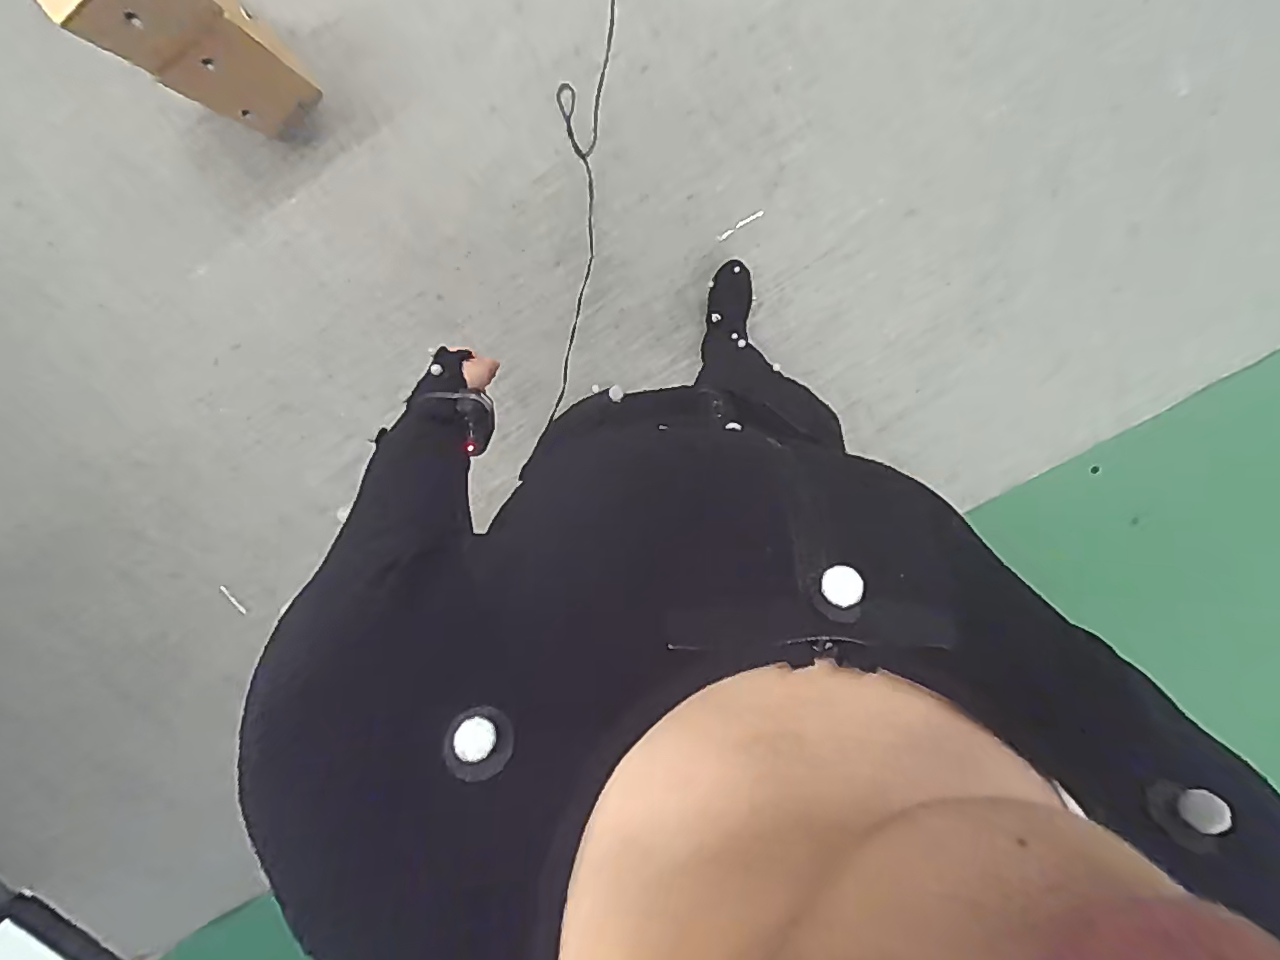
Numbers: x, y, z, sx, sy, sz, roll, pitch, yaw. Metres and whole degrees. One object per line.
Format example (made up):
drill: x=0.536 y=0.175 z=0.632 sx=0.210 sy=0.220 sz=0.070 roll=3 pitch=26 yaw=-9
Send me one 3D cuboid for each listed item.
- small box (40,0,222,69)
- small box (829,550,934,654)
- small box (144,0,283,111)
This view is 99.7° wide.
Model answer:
small box: x=-0.804 y=-0.783 z=0.822 sx=0.179 sy=0.176 sz=0.168 roll=-32 pitch=105 yaw=9
small box: x=0.638 y=0.319 z=1.445 sx=0.168 sy=0.176 sz=0.179 roll=-31 pitch=104 yaw=8
small box: x=-0.808 y=-0.820 z=0.982 sx=0.179 sy=0.176 sz=0.168 roll=-32 pitch=105 yaw=7
